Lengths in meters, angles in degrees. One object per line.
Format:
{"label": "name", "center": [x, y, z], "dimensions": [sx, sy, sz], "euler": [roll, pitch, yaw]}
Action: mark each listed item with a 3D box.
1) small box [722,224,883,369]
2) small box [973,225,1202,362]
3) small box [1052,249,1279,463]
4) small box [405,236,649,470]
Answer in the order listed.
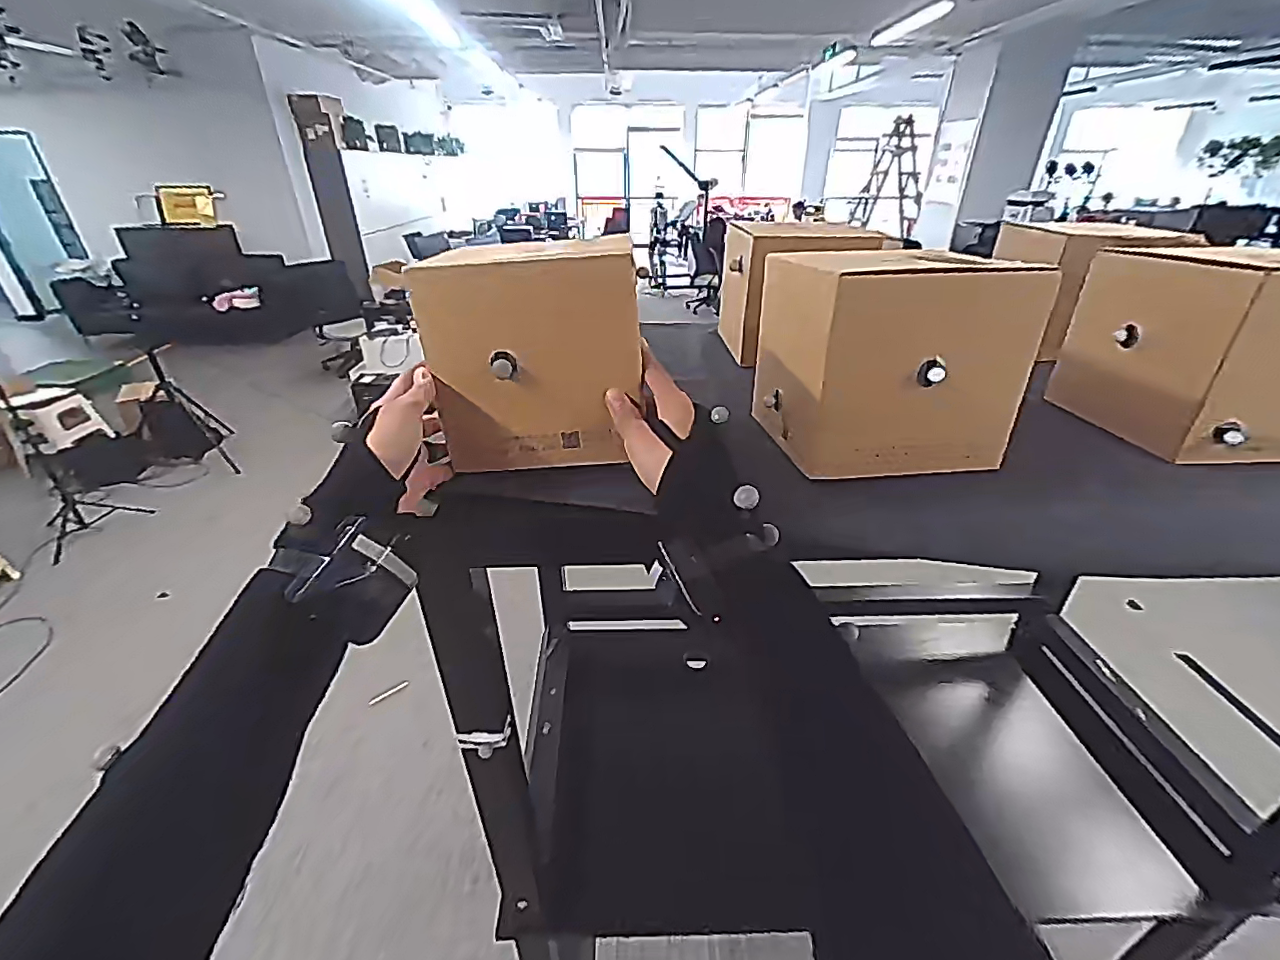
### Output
{"label": "small box", "center": [0.215, -0.263, 0.768], "dimensions": [0.168, 0.176, 0.179], "euler": [0, 30, -2]}
{"label": "small box", "center": [0.627, -0.271, 0.789], "dimensions": [0.168, 0.176, 0.179], "euler": [3, 30, 3]}
{"label": "small box", "center": [0.556, -0.122, 0.522], "dimensions": [0.168, 0.176, 0.179], "euler": [-1, 27, -1]}
{"label": "small box", "center": [-0.080, -0.115, 0.486], "dimensions": [0.168, 0.176, 0.179], "euler": [-4, 28, 0]}
